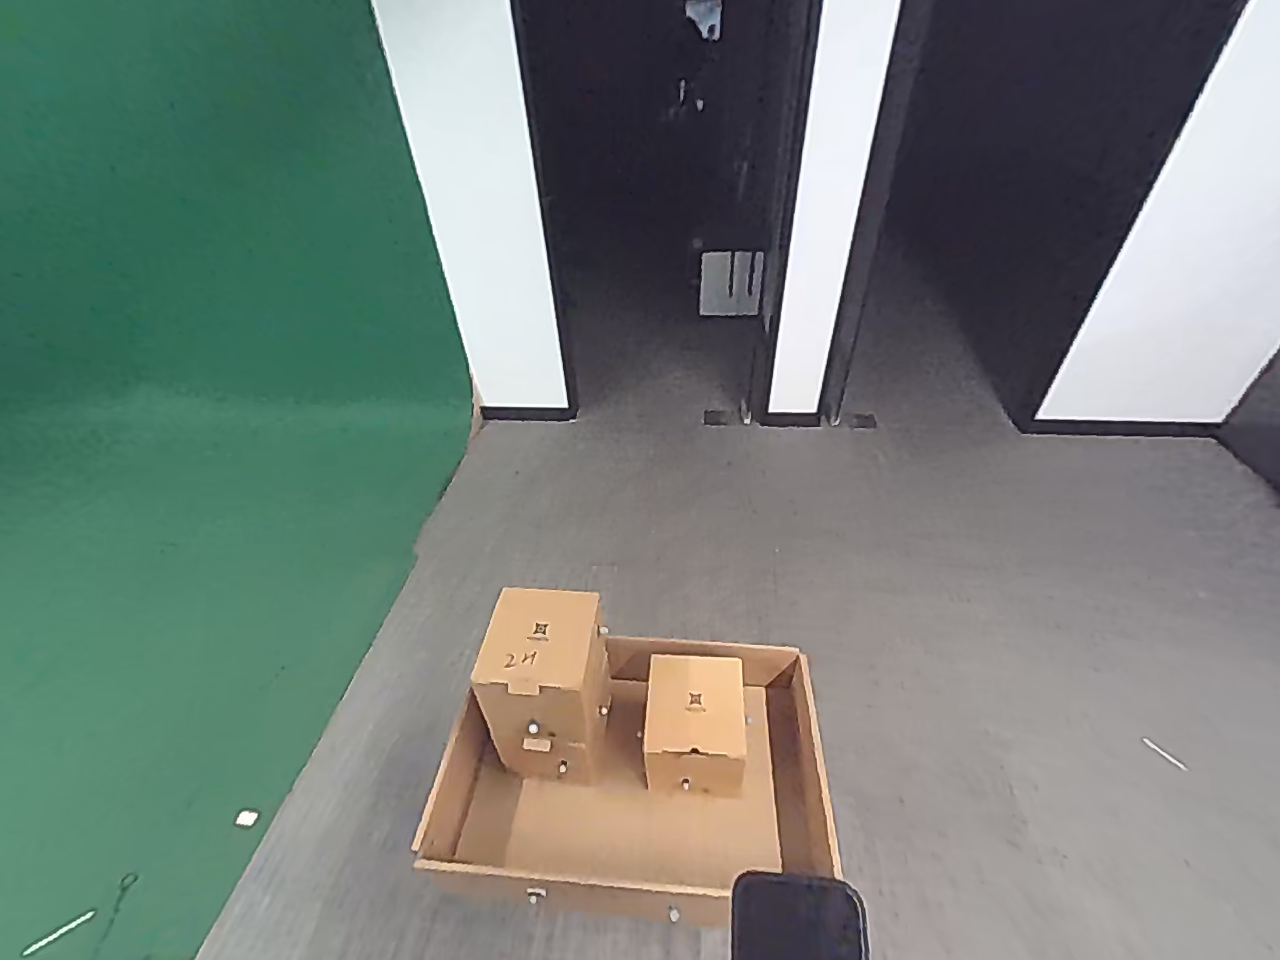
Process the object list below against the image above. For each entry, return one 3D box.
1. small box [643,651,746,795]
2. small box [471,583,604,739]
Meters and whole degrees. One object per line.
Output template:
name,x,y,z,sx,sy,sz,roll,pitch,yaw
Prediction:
small box,0.097,0.432,0.967,0.168,0.176,0.179,1,41,6
small box,-0.155,0.295,0.888,0.168,0.176,0.179,2,41,6
